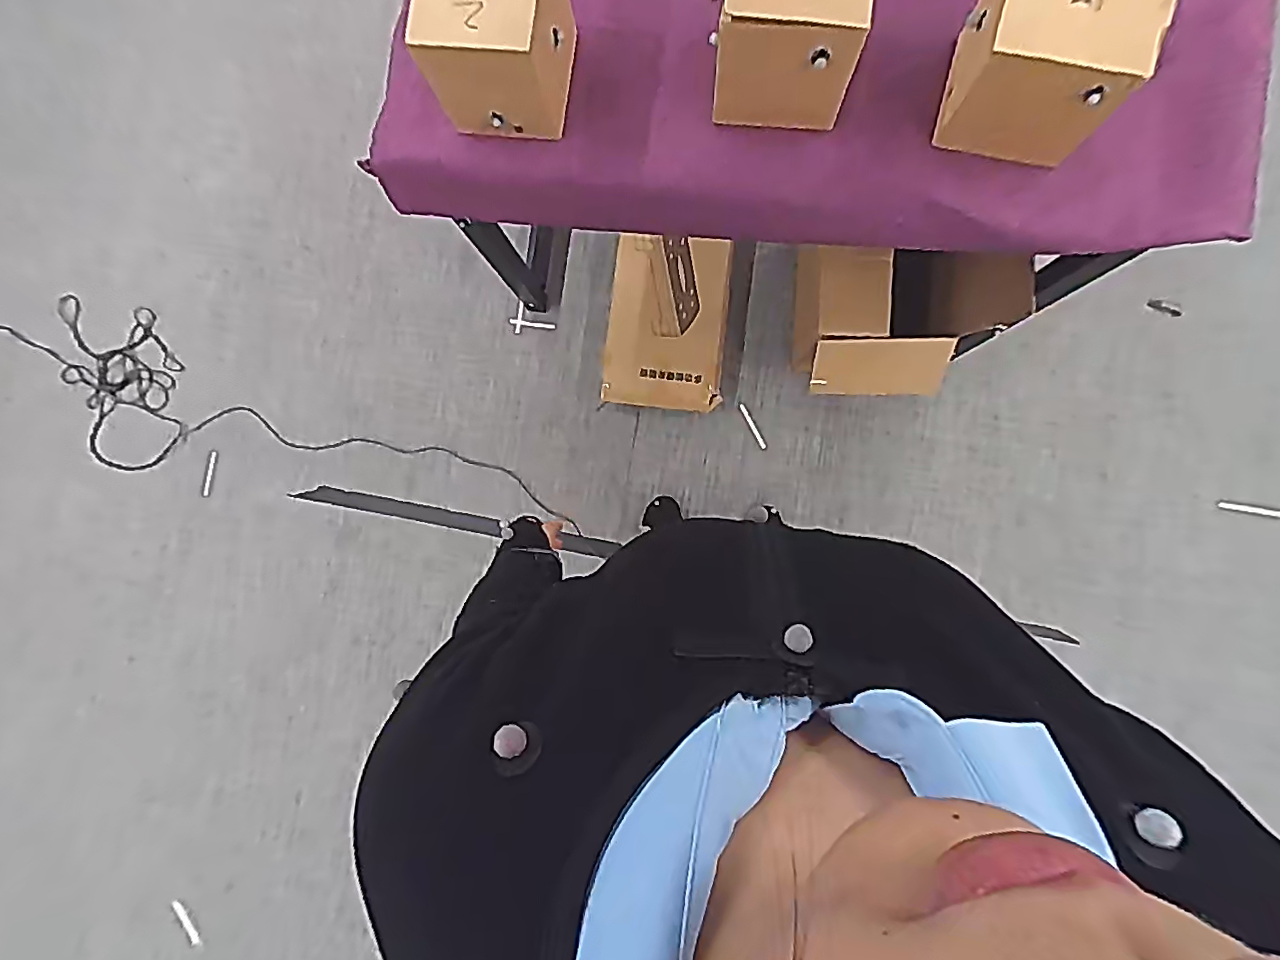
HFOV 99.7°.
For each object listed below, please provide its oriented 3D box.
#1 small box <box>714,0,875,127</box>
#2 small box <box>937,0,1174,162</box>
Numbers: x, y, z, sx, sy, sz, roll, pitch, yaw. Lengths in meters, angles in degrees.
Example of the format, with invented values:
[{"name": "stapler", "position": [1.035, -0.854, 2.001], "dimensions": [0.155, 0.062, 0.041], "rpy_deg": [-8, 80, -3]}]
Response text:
[{"name": "small box", "position": [0.198, -0.602, 0.712], "dimensions": [0.179, 0.176, 0.168], "rpy_deg": [7, 86, 6]}, {"name": "small box", "position": [0.509, -0.538, 0.681], "dimensions": [0.179, 0.176, 0.168], "rpy_deg": [14, 89, 6]}]
